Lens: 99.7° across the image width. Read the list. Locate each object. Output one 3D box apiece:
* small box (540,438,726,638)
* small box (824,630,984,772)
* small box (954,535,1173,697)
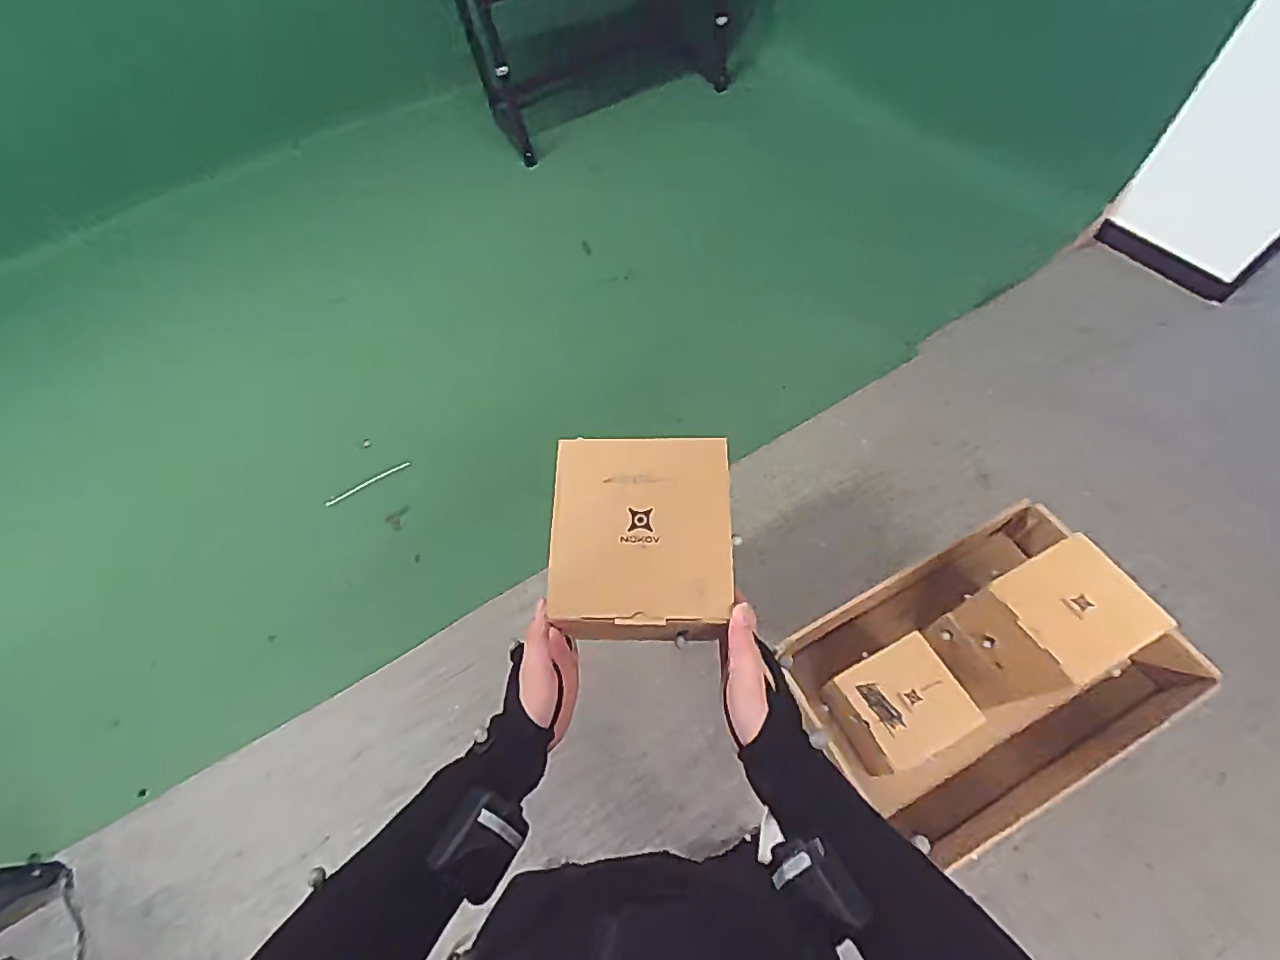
[{"bbox_3d":[0.001,0.069,0.570,0.168,0.176,0.179,0,68,3],"label":"small box"},{"bbox_3d":[0.448,0.397,0.956,0.179,0.176,0.168,-26,61,-9],"label":"small box"},{"bbox_3d":[0.641,0.217,0.847,0.179,0.176,0.168,-28,61,-6],"label":"small box"}]
